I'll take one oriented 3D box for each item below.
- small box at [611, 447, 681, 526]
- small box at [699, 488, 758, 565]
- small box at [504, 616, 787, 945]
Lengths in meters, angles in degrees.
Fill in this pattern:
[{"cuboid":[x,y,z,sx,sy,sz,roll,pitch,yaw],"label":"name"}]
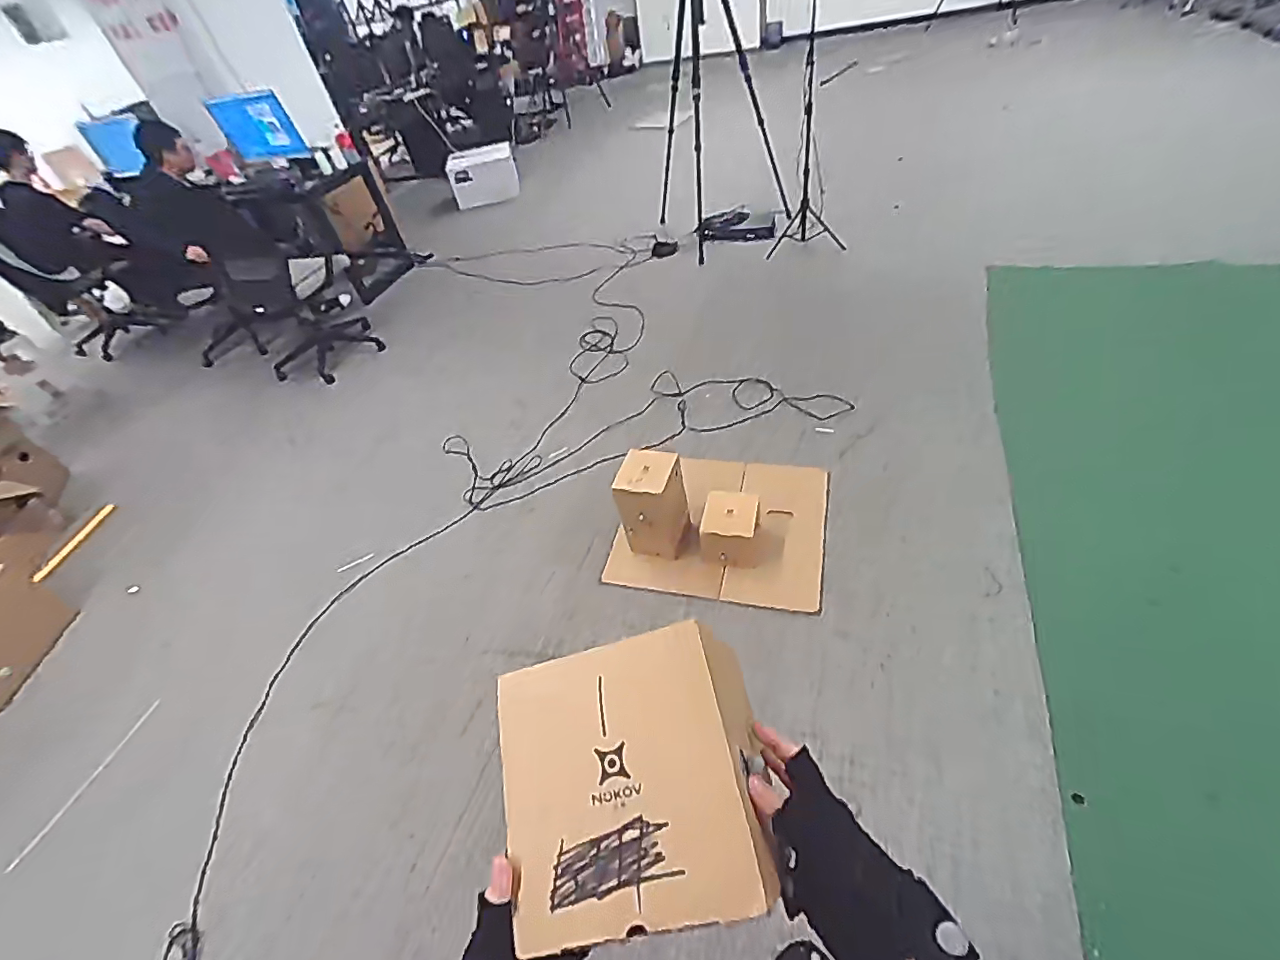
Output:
[{"cuboid":[0.027,0.019,1.703,0.168,0.176,0.179,7,49,21],"label":"small box"},{"cuboid":[0.290,0.149,1.751,0.168,0.176,0.179,4,49,16],"label":"small box"},{"cuboid":[0.011,0.228,0.436,0.168,0.176,0.179,-19,61,11],"label":"small box"}]
